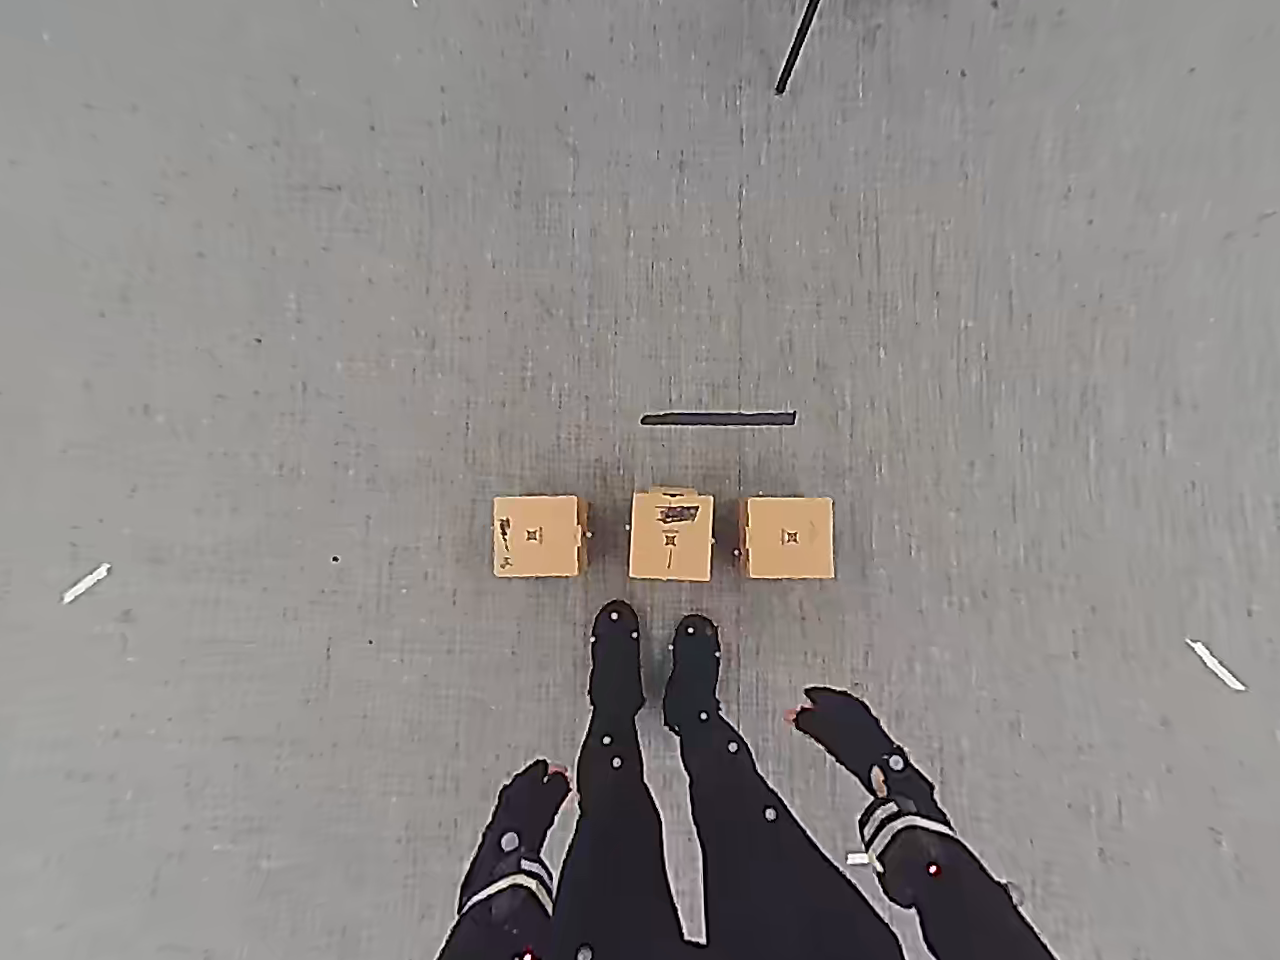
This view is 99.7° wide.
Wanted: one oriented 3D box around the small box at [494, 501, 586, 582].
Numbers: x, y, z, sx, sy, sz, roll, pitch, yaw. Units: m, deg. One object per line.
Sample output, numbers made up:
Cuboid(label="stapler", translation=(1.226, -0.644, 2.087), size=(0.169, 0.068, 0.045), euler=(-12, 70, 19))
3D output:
Cuboid(label="small box", translation=(-0.211, 0.129, 1.181), size=(0.179, 0.176, 0.168), euler=(-1, 86, 0))

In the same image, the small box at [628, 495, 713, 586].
Cuboid(label="small box", translation=(0.063, 0.127, 1.176), size=(0.168, 0.176, 0.179), euler=(3, 87, 1))

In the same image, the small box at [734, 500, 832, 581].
Cuboid(label="small box", translation=(0.302, 0.128, 1.174), size=(0.179, 0.176, 0.168), euler=(0, 88, 0))
